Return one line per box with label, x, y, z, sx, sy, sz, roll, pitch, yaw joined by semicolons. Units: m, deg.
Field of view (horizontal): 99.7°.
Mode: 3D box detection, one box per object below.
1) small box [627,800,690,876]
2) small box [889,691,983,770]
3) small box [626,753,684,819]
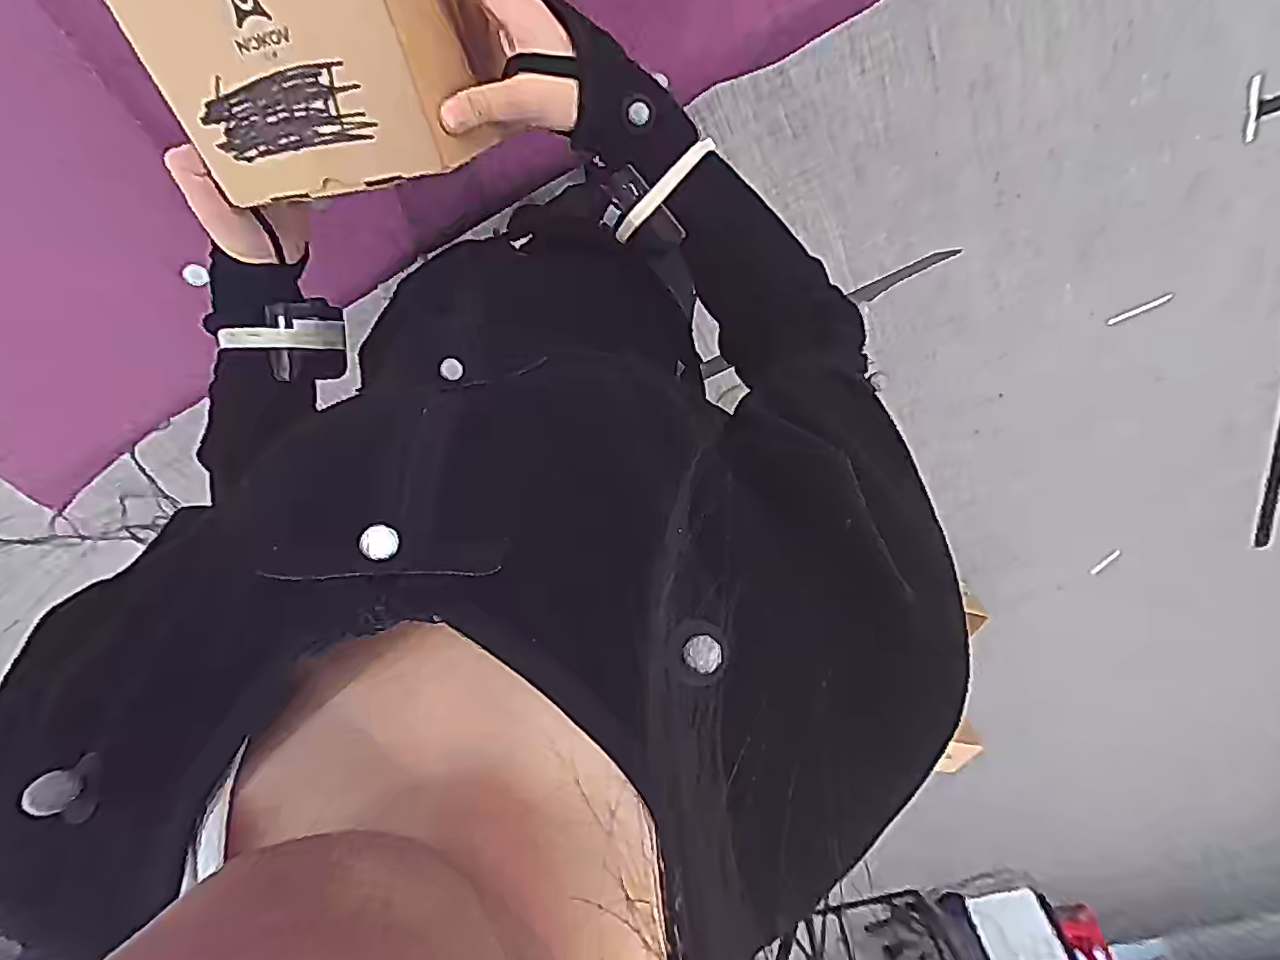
small box;0.056;1.263;1.909;0.168;0.176;0.179;19;121;-15
small box;0.957;0.816;1.770;0.179;0.176;0.168;14;122;-14
small box;0.049;1.162;2.039;0.168;0.176;0.179;18;122;-15
